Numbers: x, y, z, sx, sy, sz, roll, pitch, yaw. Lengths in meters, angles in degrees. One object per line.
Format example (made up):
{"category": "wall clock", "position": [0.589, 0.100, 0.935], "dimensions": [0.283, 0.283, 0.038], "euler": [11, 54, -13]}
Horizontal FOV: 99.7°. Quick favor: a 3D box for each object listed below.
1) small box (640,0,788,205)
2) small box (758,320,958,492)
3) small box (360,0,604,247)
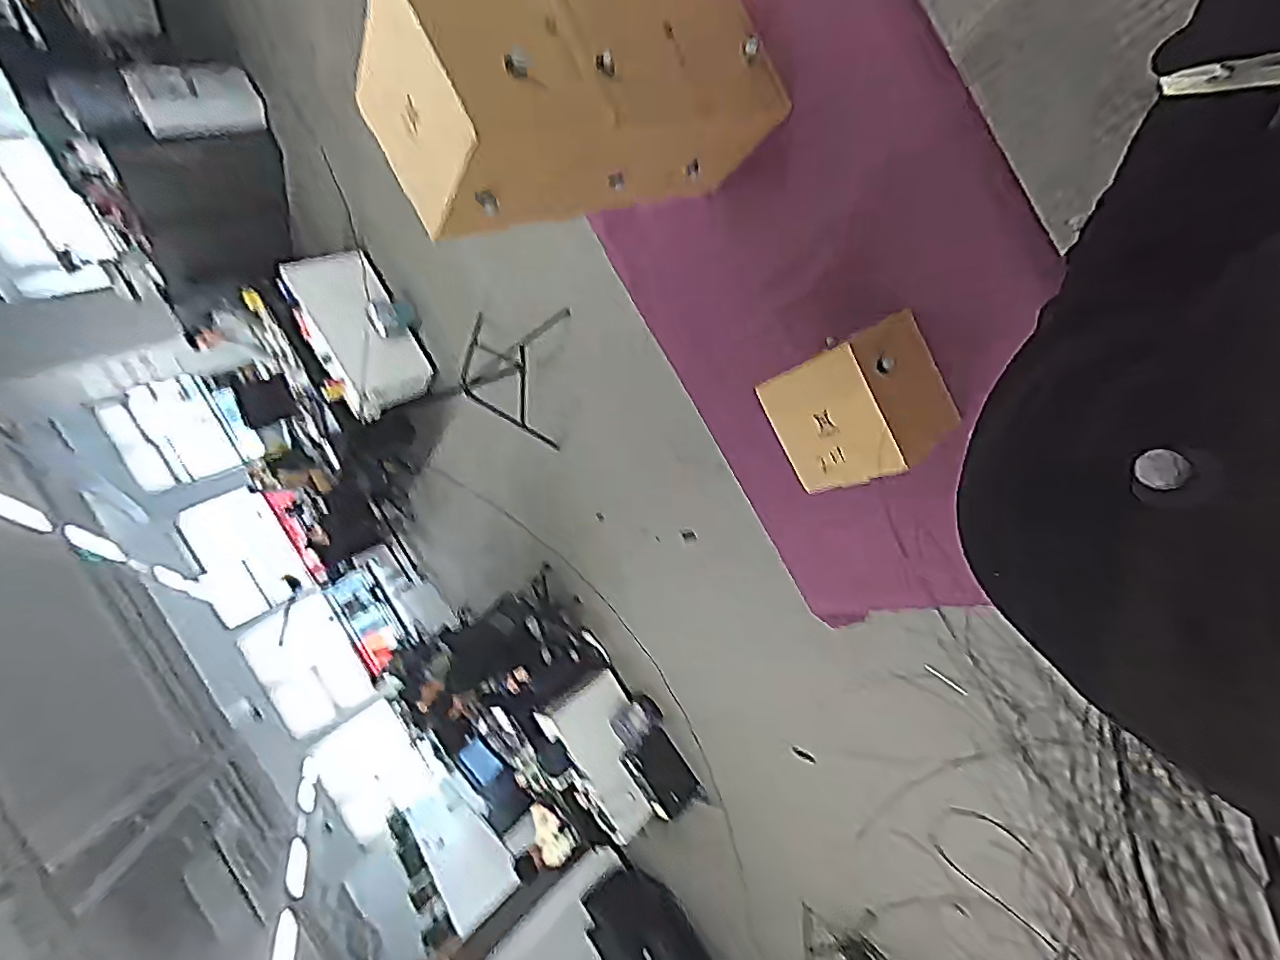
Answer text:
{"category": "small box", "position": [0.069, -0.520, 0.753], "dimensions": [0.179, 0.176, 0.168], "euler": [-22, 98, 56]}
{"category": "small box", "position": [0.309, -0.108, 0.766], "dimensions": [0.168, 0.176, 0.179], "euler": [-21, 99, 57]}
{"category": "small box", "position": [-0.160, -0.381, 0.565], "dimensions": [0.179, 0.176, 0.168], "euler": [-19, 101, 57]}
